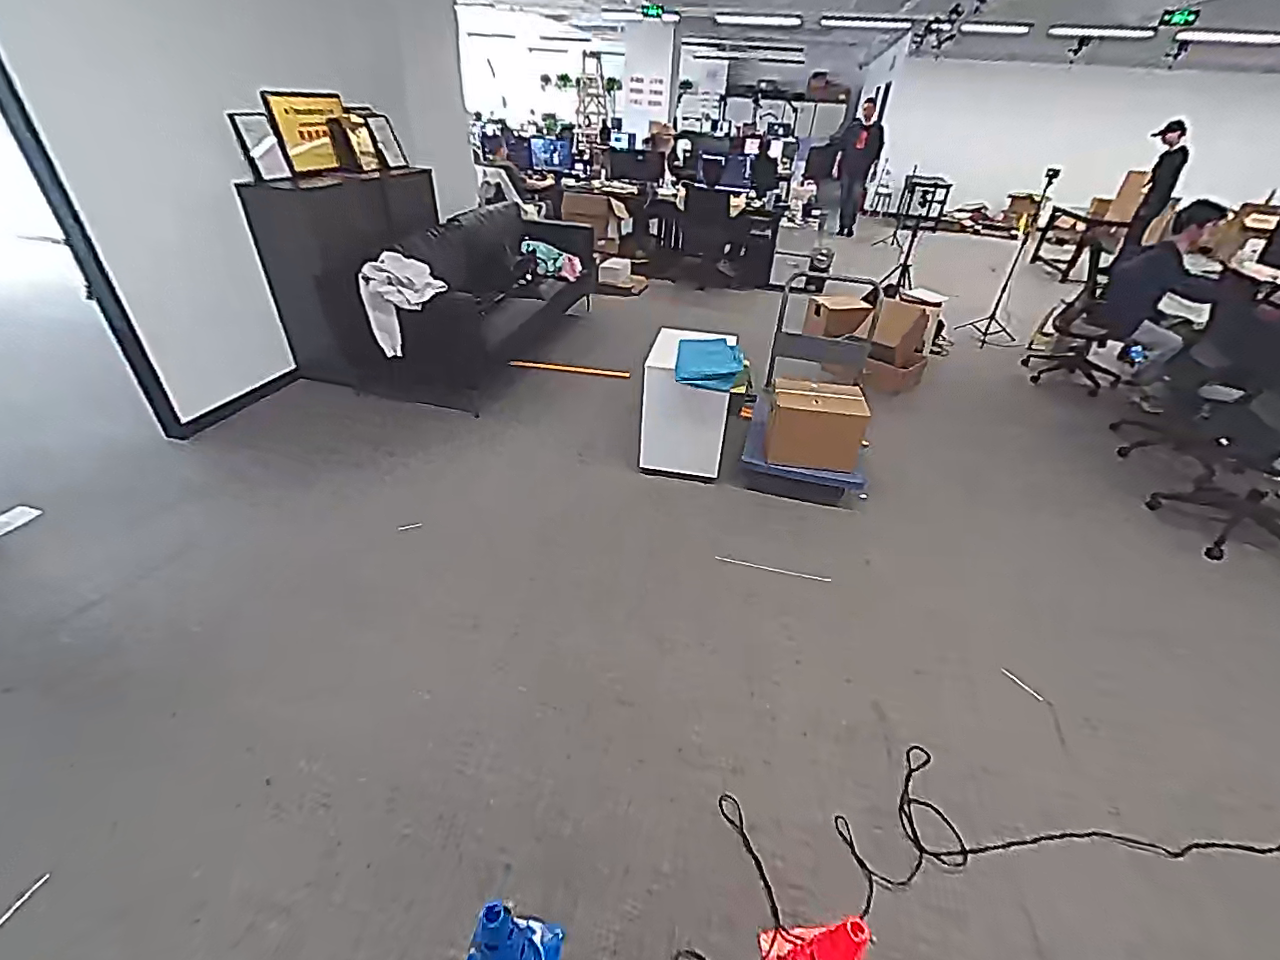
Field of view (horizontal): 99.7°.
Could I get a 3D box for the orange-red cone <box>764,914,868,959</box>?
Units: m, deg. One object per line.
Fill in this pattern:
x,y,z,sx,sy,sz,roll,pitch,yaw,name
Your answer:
0.387,0.946,1.073,0.198,0.360,0.199,-1,36,-4,orange-red cone
